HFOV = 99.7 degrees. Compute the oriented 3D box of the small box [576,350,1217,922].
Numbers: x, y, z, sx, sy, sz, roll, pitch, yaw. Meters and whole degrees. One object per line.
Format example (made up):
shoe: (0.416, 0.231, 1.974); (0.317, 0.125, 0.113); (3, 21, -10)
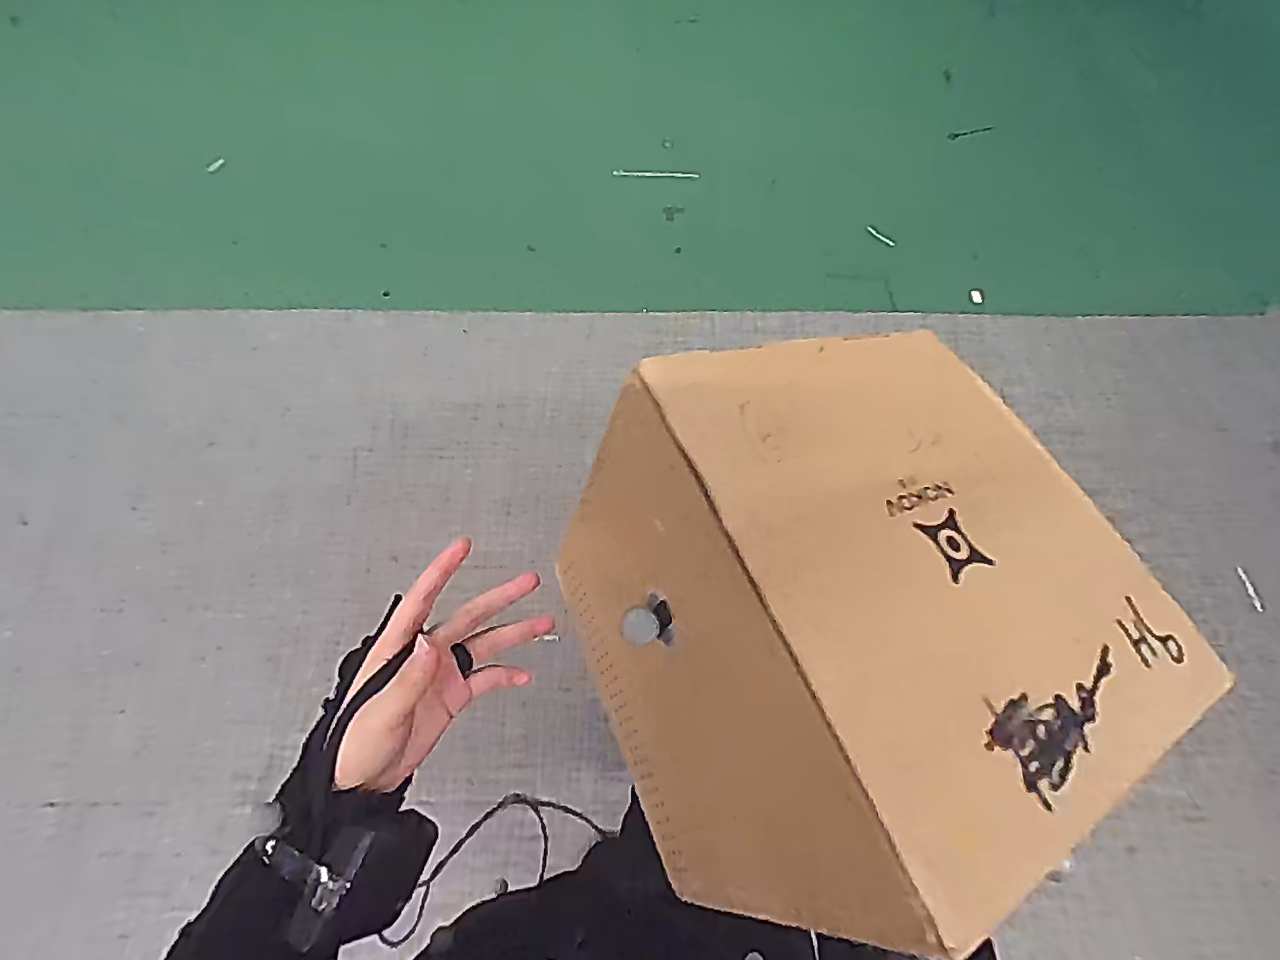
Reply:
small box: (0.083, 0.065, 0.259); (0.168, 0.176, 0.179); (-14, 62, -27)
